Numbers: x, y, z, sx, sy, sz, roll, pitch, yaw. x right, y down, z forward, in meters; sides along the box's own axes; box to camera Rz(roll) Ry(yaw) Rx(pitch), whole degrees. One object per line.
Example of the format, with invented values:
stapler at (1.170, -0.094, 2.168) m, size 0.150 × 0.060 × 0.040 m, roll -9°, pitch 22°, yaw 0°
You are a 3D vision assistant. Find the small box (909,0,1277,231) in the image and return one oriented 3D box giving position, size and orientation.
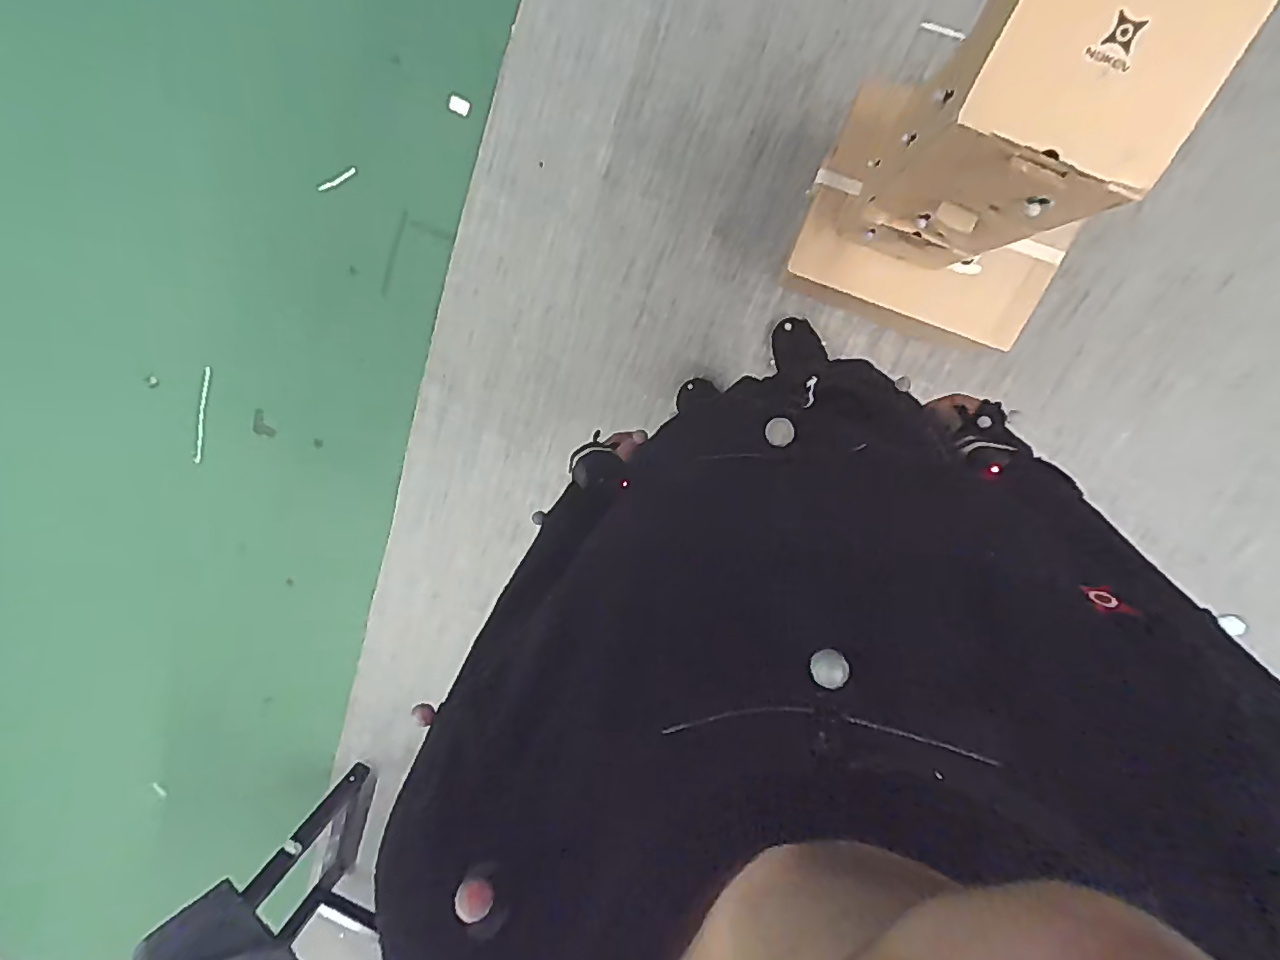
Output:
small box at (0.370, -0.347, 0.482) m, size 0.168 × 0.176 × 0.179 m, roll 25°, pitch 107°, yaw 2°

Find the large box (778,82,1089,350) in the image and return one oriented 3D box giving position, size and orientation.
large box at (0.516, -0.463, 1.022) m, size 0.408 × 0.320 × 0.320 m, roll 21°, pitch 109°, yaw 4°

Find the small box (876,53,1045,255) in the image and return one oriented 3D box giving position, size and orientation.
small box at (0.406, -0.390, 0.634) m, size 0.168 × 0.176 × 0.179 m, roll 27°, pitch 108°, yaw 3°
